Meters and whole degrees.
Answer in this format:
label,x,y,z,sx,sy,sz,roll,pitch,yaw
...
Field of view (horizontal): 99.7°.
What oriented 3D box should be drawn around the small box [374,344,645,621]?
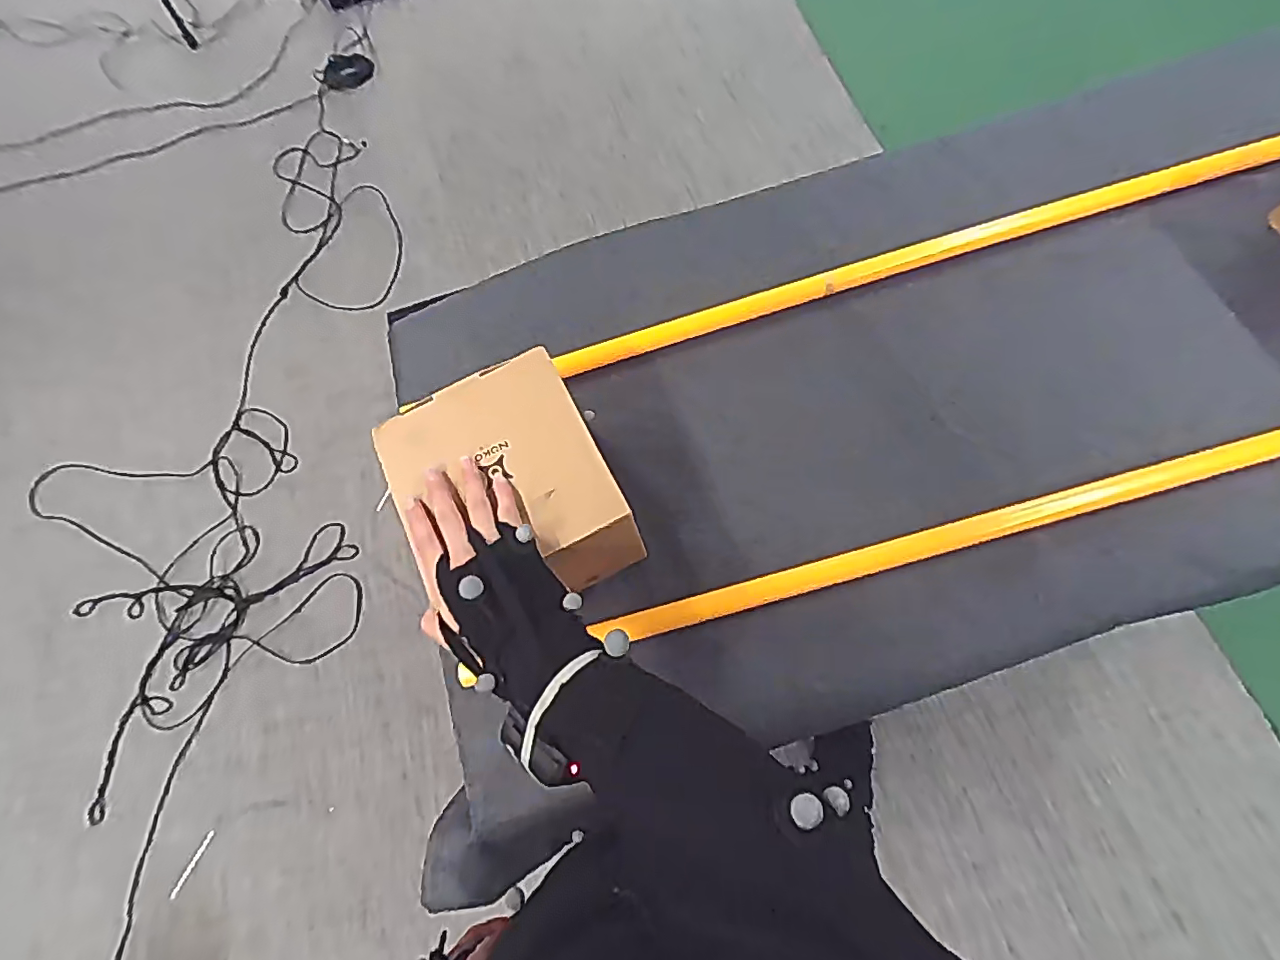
label,x,y,z,sx,sy,sz,roll,pitch,yaw
small box,-0.108,0.014,0.508,0.168,0.176,0.179,-28,71,-4
